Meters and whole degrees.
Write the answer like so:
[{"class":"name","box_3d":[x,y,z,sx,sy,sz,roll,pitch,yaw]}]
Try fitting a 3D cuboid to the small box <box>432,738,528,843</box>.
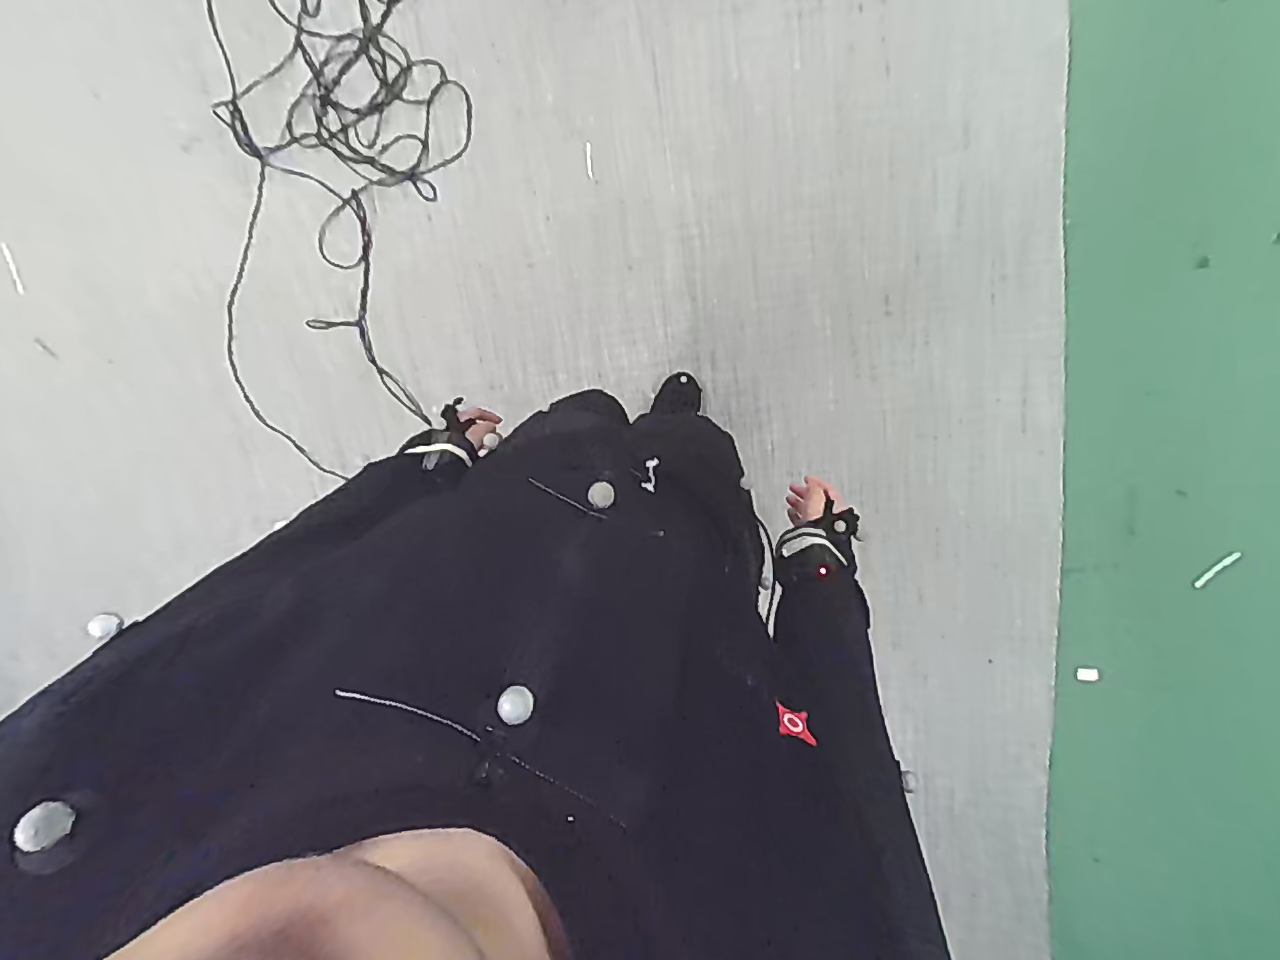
[{"class":"small box","box_3d":[-0.429,0.836,1.475,0.168,0.176,0.179,-19,100,10]}]
